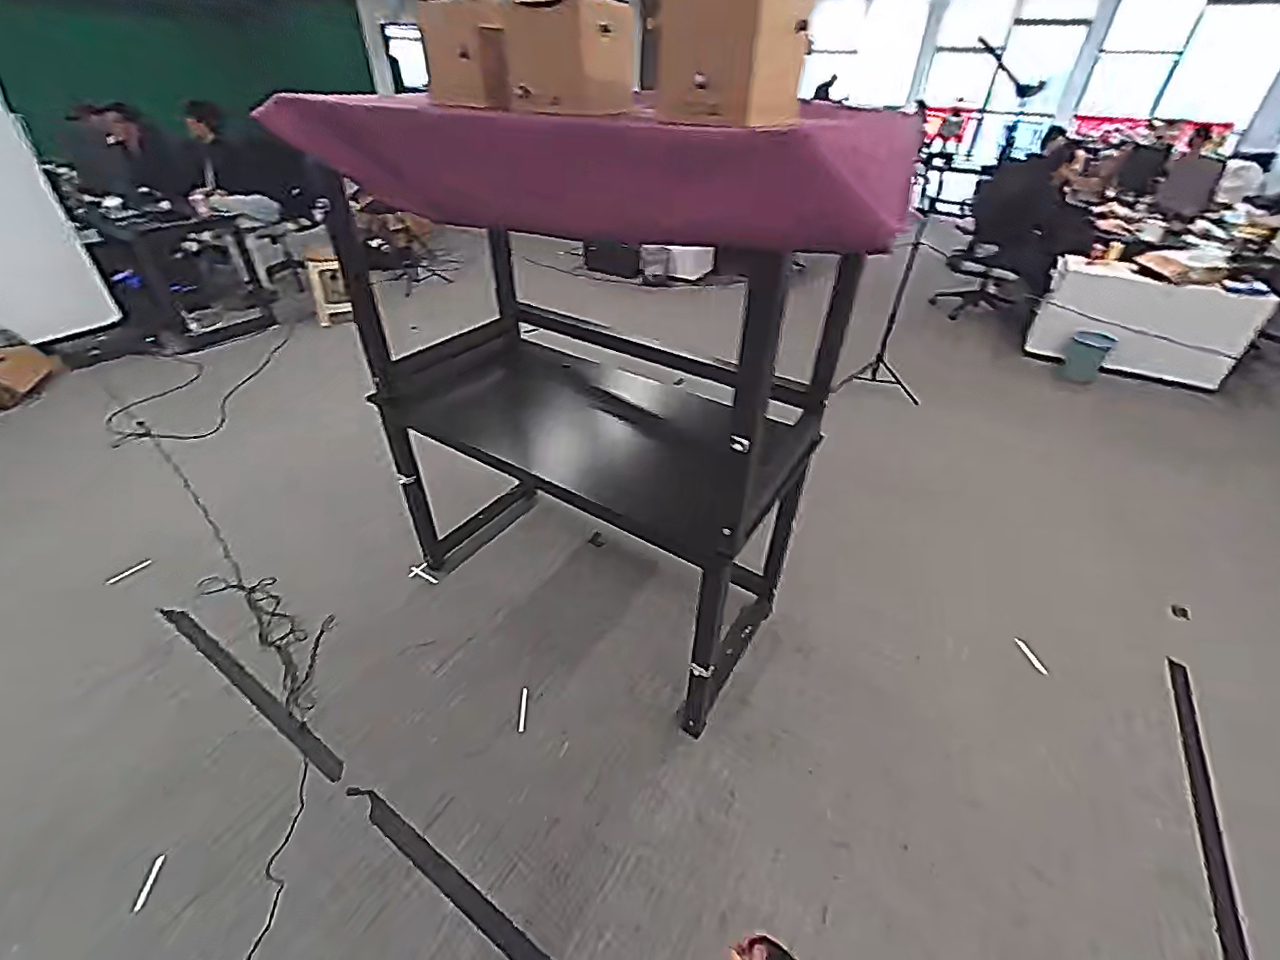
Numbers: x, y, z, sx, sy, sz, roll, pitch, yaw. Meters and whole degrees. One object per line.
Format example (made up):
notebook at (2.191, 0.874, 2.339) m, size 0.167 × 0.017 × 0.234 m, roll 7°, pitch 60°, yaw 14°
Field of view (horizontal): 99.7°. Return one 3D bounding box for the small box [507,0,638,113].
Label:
small box at (-0.113, -0.767, 0.975) m, size 0.168 × 0.176 × 0.179 m, roll 19°, pitch 39°, yaw 22°

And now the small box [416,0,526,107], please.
small box at (-0.311, -0.856, 1.088) m, size 0.179 × 0.176 × 0.168 m, roll 23°, pitch 41°, yaw 26°

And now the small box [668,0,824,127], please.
small box at (0.153, -0.644, 0.820) m, size 0.168 × 0.176 × 0.179 m, roll 25°, pitch 42°, yaw 29°
